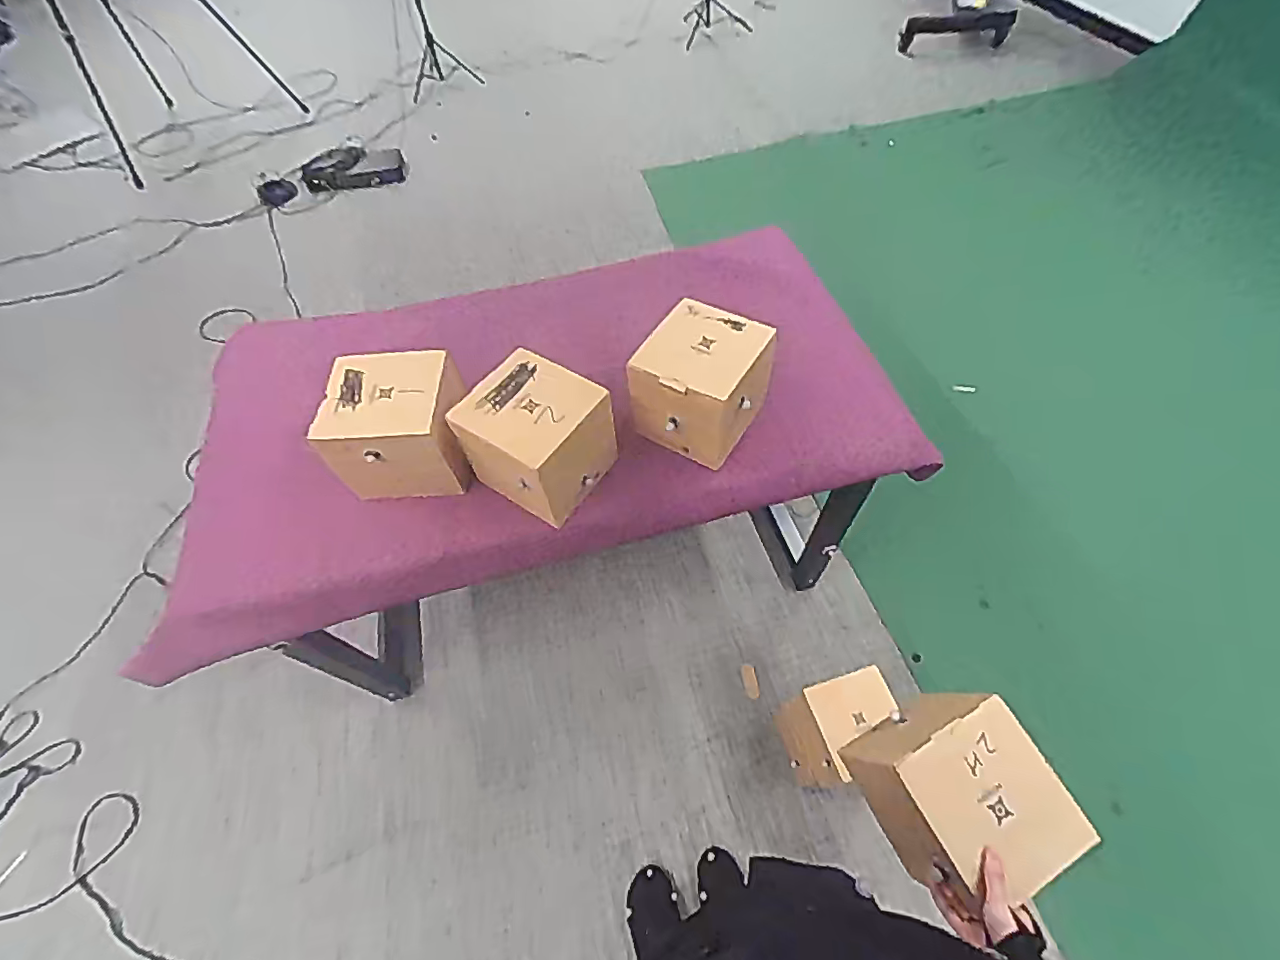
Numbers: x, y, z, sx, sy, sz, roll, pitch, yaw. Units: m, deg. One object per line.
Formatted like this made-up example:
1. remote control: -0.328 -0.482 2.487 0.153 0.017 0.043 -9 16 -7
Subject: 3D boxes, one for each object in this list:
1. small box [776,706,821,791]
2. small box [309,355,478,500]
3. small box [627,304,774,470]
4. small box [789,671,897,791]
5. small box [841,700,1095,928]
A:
1. small box: 0.426 0.605 1.248 0.179 0.176 0.168 -13 58 -6
2. small box: -0.377 -0.078 0.865 0.179 0.176 0.168 -3 57 0
3. small box: 0.099 -0.147 0.883 0.168 0.176 0.179 27 63 20
4. small box: 0.425 0.519 1.112 0.168 0.176 0.179 -15 59 -7
5. small box: 0.392 0.396 0.682 0.168 0.176 0.179 -25 71 -14
